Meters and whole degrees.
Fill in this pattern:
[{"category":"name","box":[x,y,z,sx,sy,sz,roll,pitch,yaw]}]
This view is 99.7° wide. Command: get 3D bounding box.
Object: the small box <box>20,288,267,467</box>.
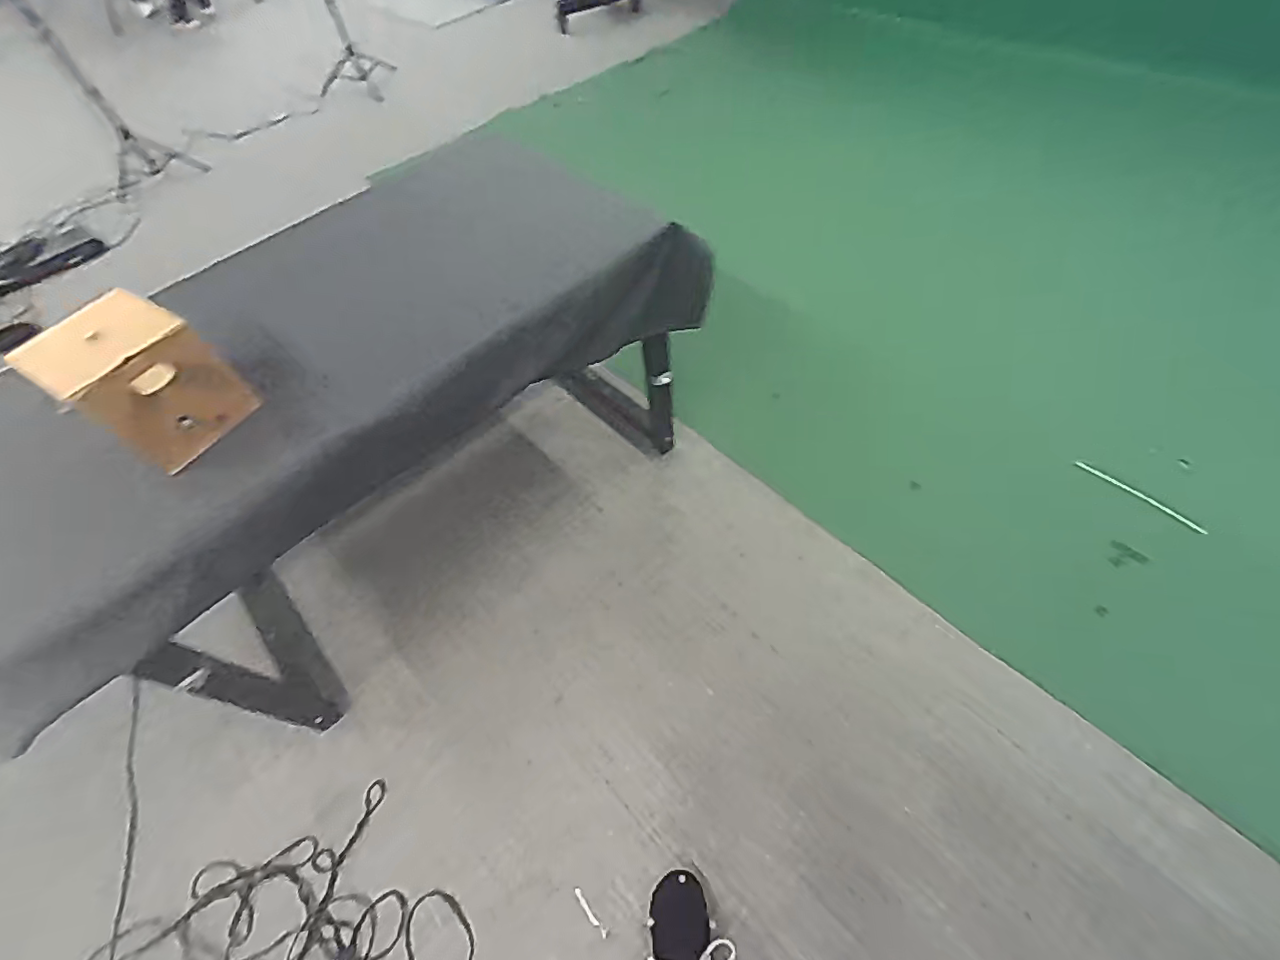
[{"category":"small box","box":[-0.714,-0.147,0.798,0.179,0.176,0.168,25,61,20]}]
